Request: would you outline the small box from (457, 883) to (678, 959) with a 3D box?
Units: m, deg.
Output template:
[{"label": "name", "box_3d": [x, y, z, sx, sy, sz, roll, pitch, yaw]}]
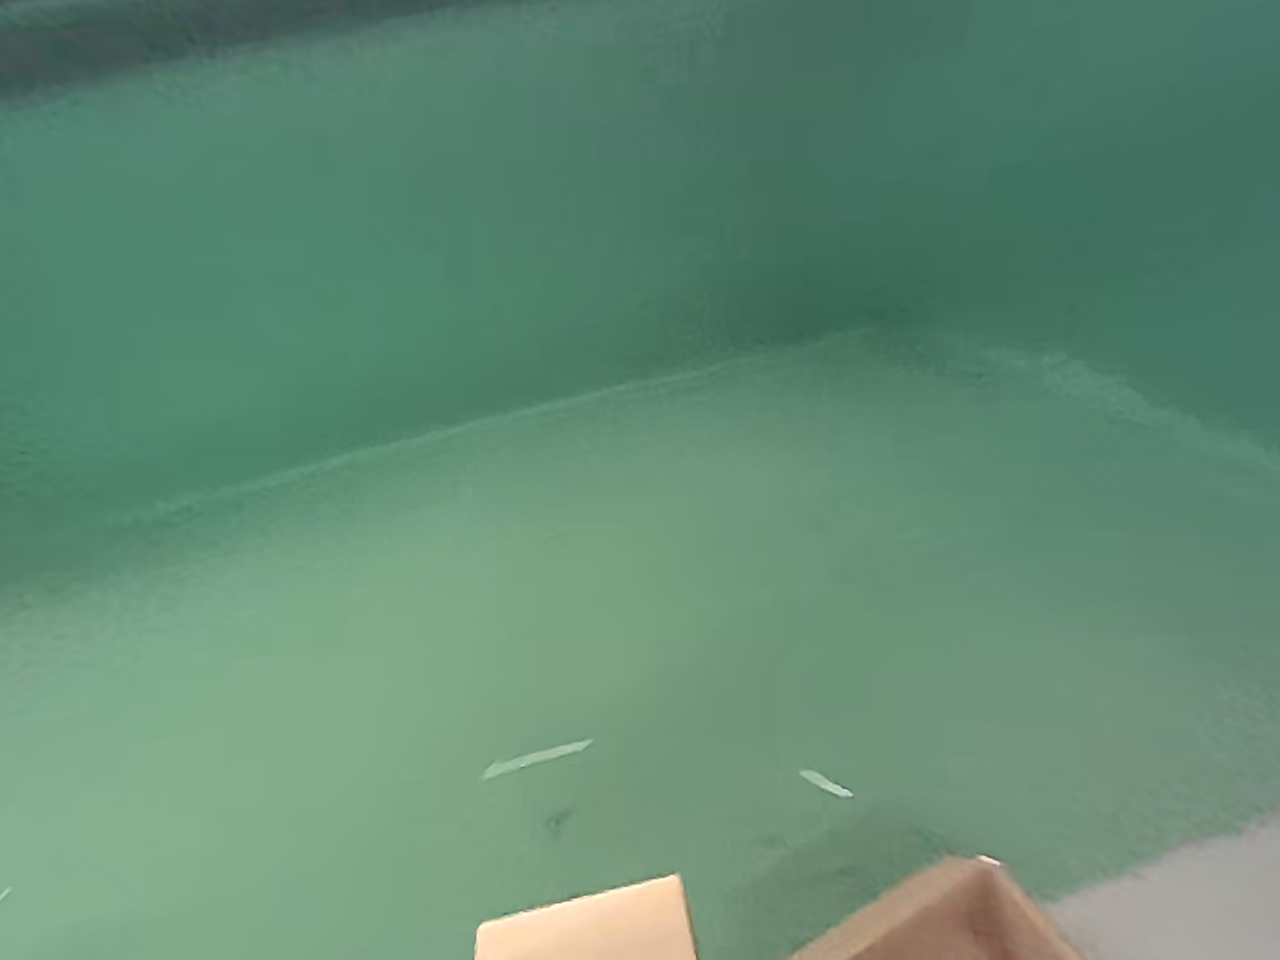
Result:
[{"label": "small box", "box_3d": [-0.040, 0.454, 0.418, 0.168, 0.176, 0.179, -12, 43, -5]}]
